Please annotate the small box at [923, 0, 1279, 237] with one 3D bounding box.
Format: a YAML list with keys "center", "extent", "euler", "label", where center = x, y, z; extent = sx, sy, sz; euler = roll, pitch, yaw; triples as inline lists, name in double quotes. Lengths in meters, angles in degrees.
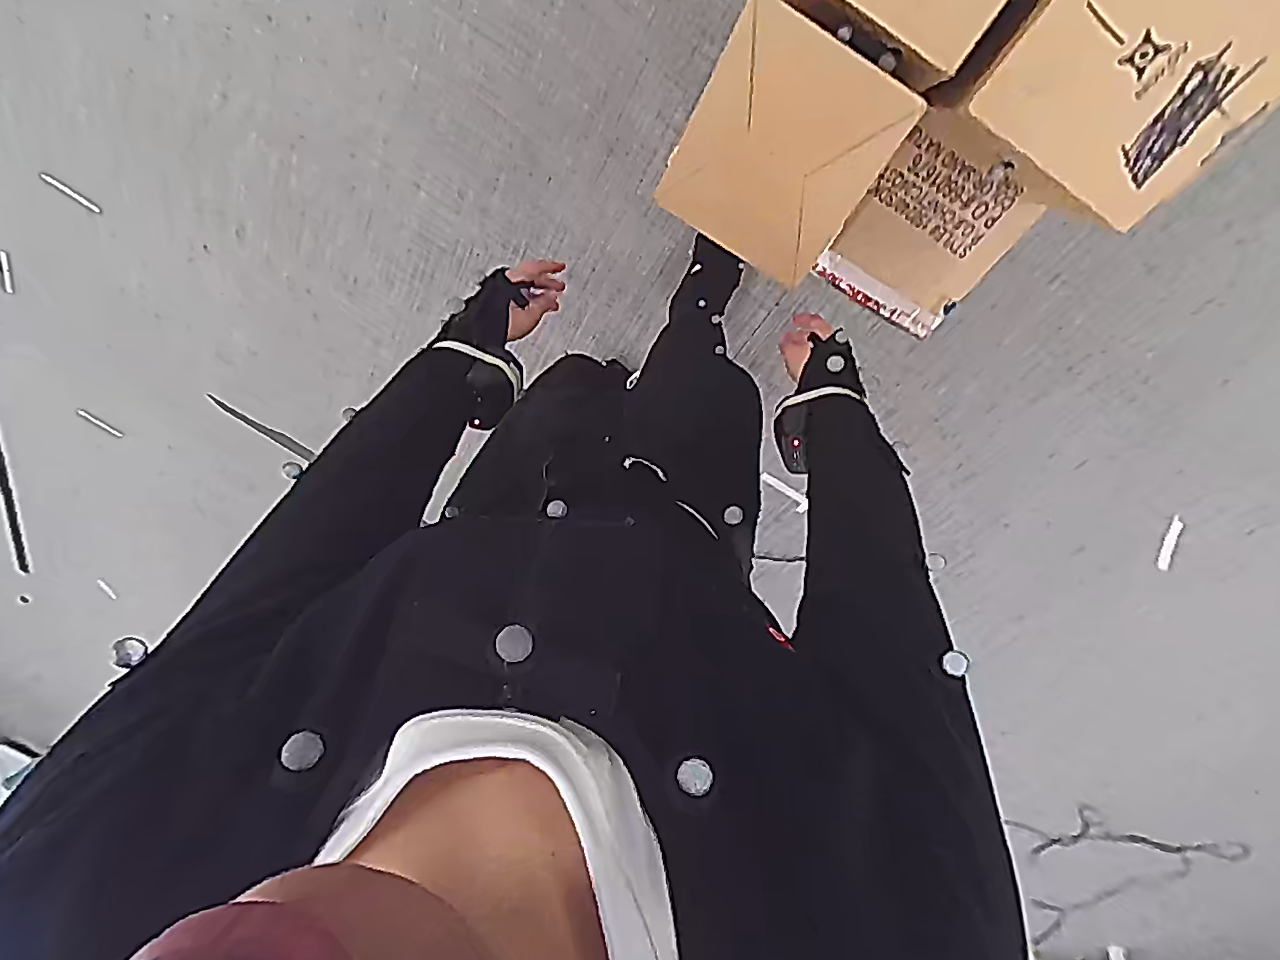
- center: [0.385, -0.347, 0.467]
  extent: [0.179, 0.176, 0.168]
  euler: [31, 126, -8]
  label: "small box"
